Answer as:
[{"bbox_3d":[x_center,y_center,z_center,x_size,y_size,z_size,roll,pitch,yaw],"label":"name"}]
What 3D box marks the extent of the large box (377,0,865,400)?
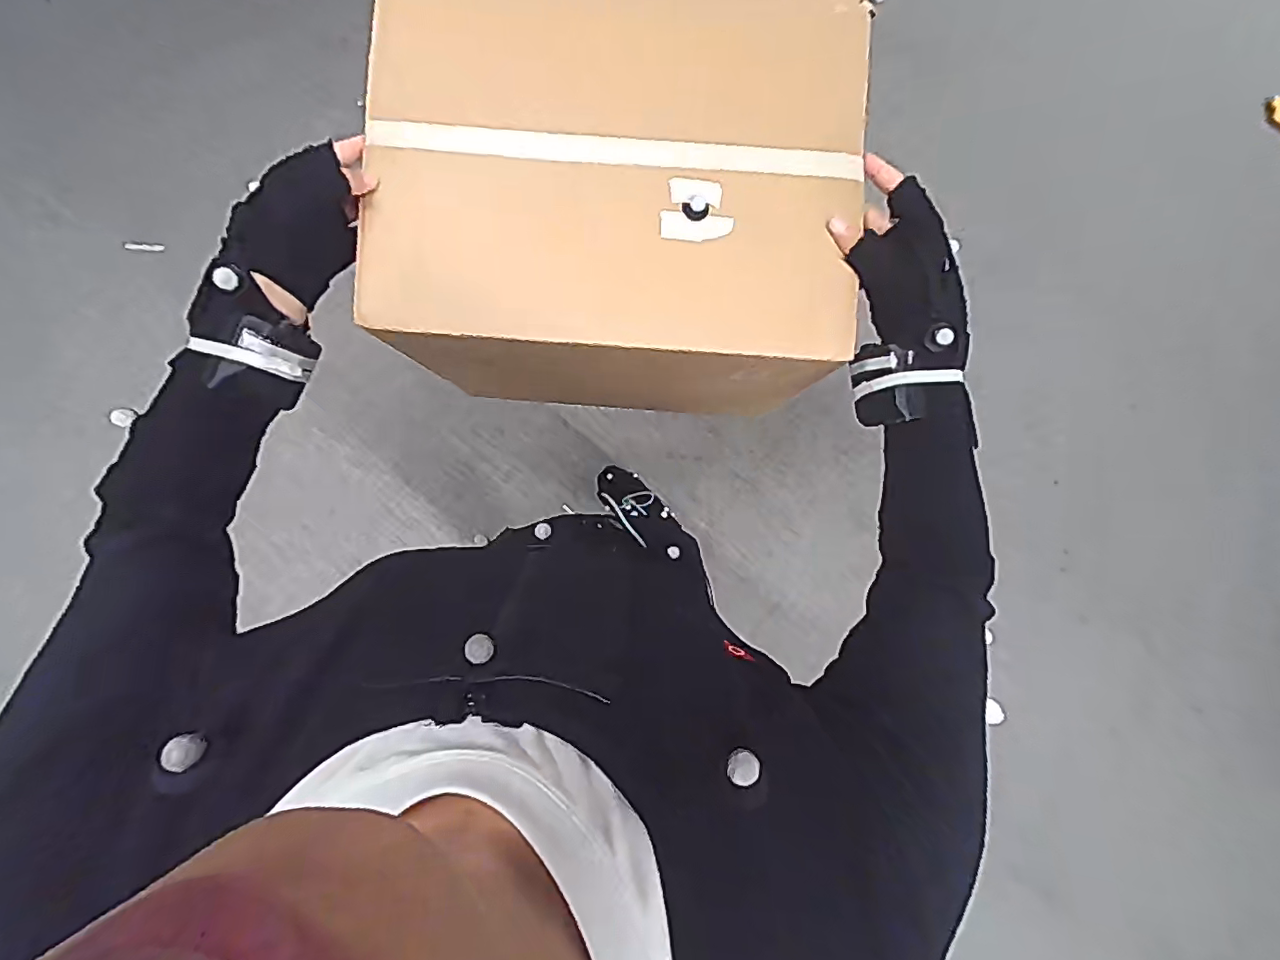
[{"bbox_3d":[-0.018,-0.273,0.599,0.408,0.320,0.320,3,90,-1],"label":"large box"}]
